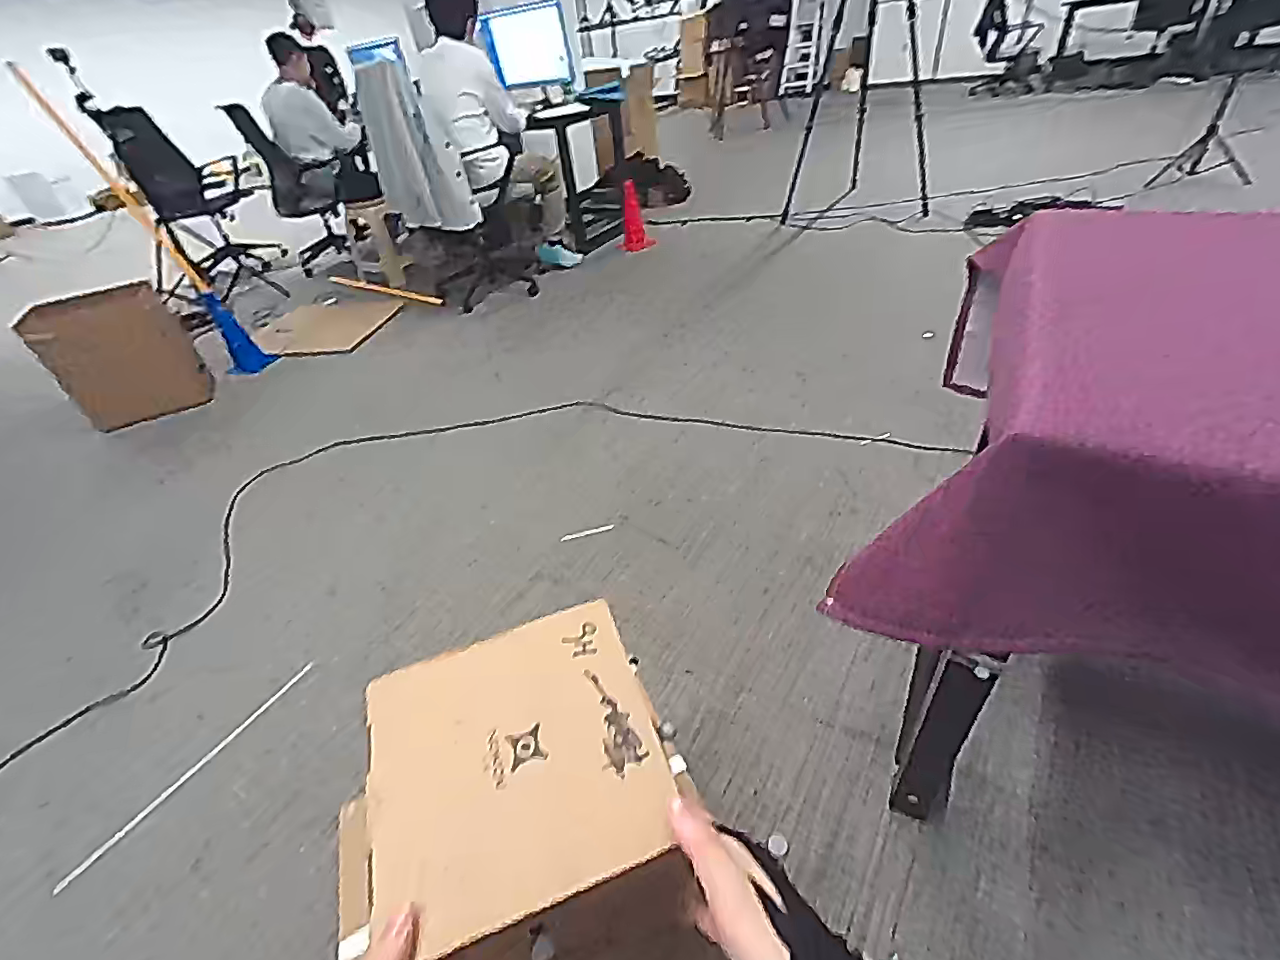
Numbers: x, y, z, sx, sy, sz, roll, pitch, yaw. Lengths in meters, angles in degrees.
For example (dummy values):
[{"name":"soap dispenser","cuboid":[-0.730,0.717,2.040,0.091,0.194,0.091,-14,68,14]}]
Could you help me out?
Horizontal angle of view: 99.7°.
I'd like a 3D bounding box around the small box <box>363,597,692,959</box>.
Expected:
[{"name":"small box","cuboid":[-0.072,0.220,0.389,0.179,0.176,0.168,-19,48,-10]}]
